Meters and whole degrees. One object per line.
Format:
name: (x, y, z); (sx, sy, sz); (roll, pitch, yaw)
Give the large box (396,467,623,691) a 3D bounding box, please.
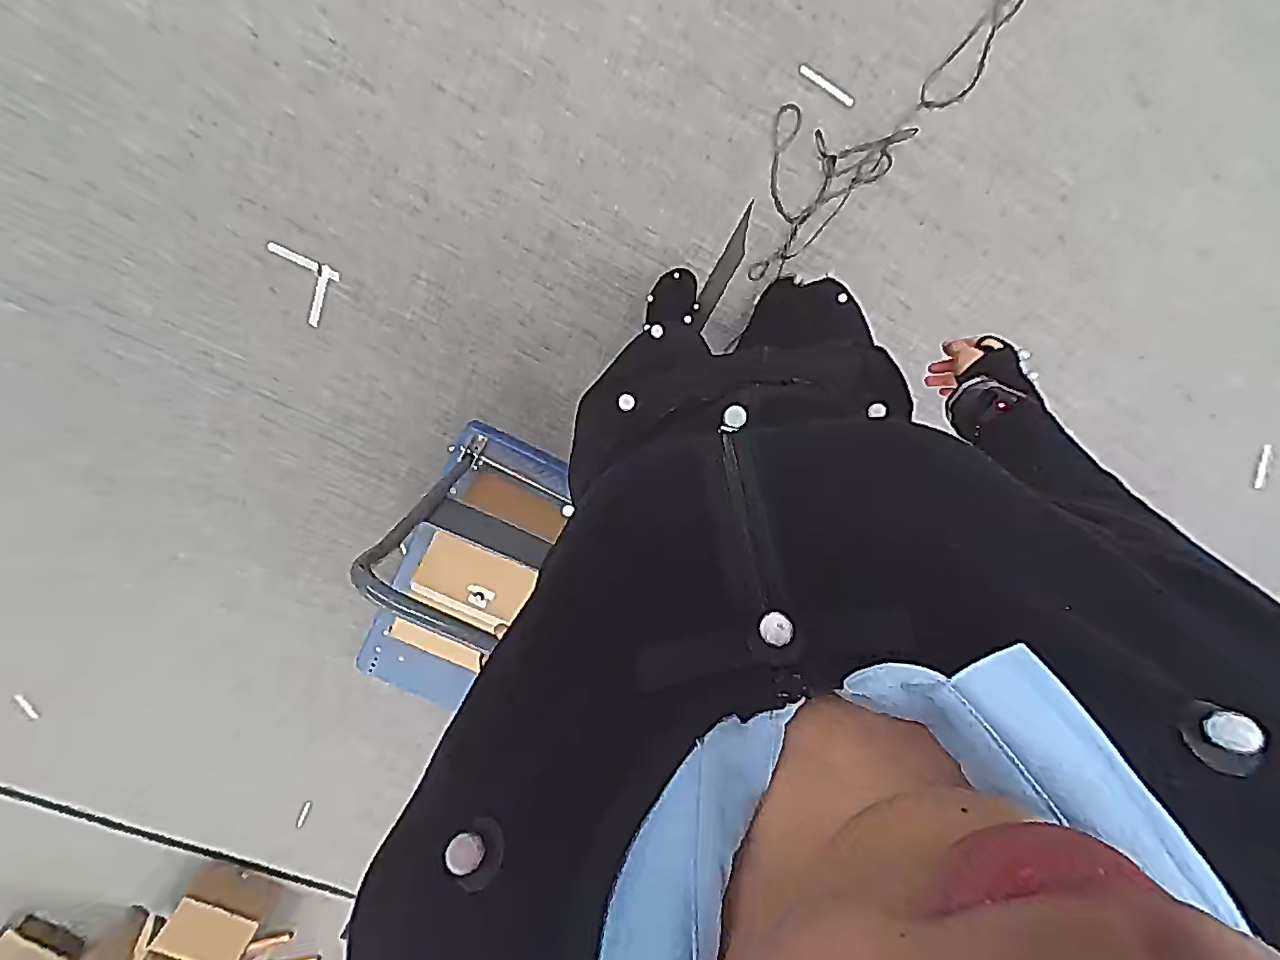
large box: (-0.290, 0.228, 1.307); (0.408, 0.320, 0.320); (28, 110, -10)
